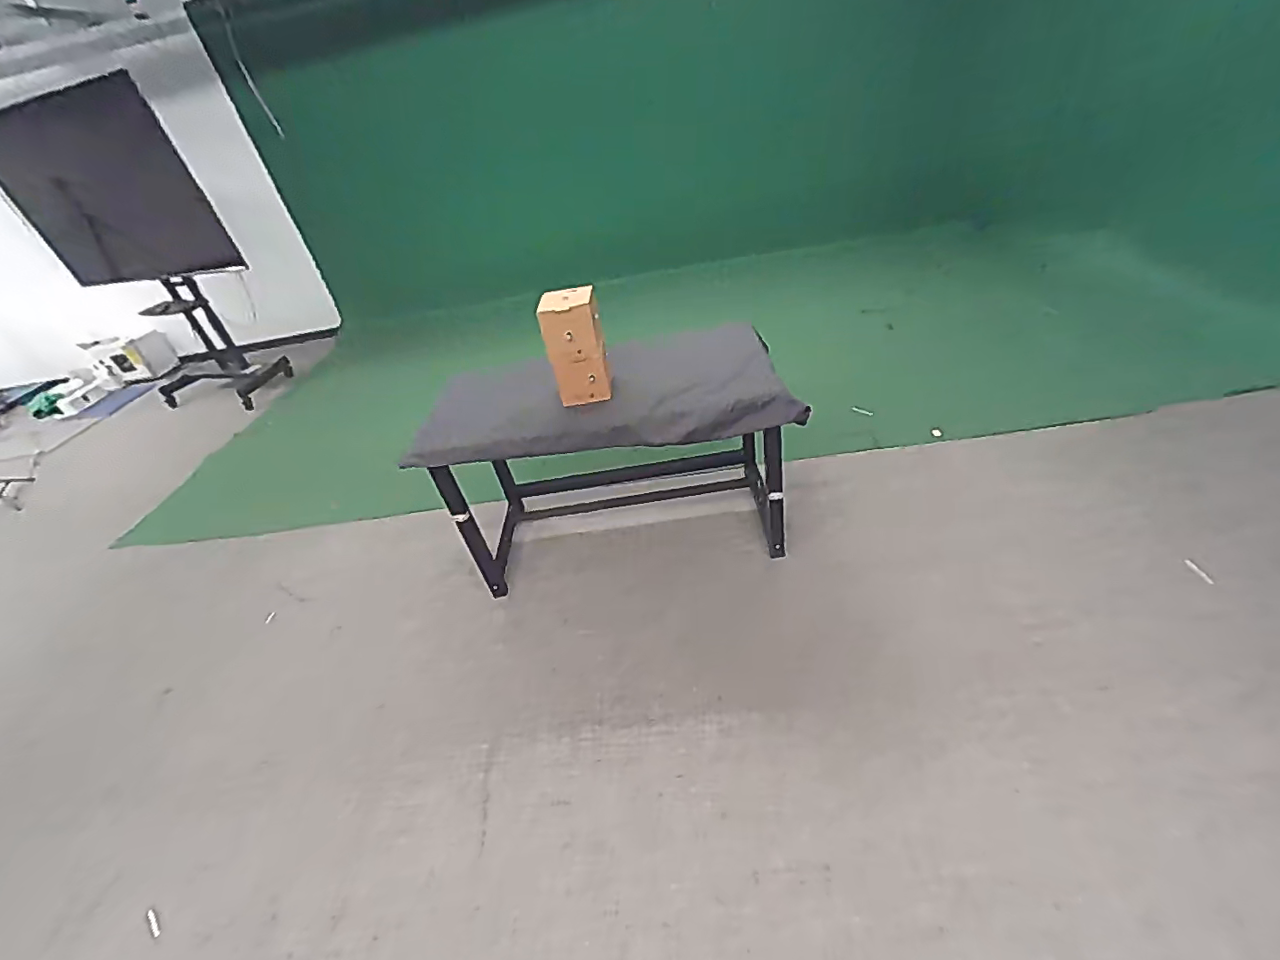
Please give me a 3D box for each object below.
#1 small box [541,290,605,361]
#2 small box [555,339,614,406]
[{"bbox_3d":[-0.212,-0.496,1.760,0.168,0.176,0.179,-6,38,5],"label":"small box"},{"bbox_3d":[-0.183,-0.363,1.852,0.168,0.176,0.179,-8,35,4],"label":"small box"}]
